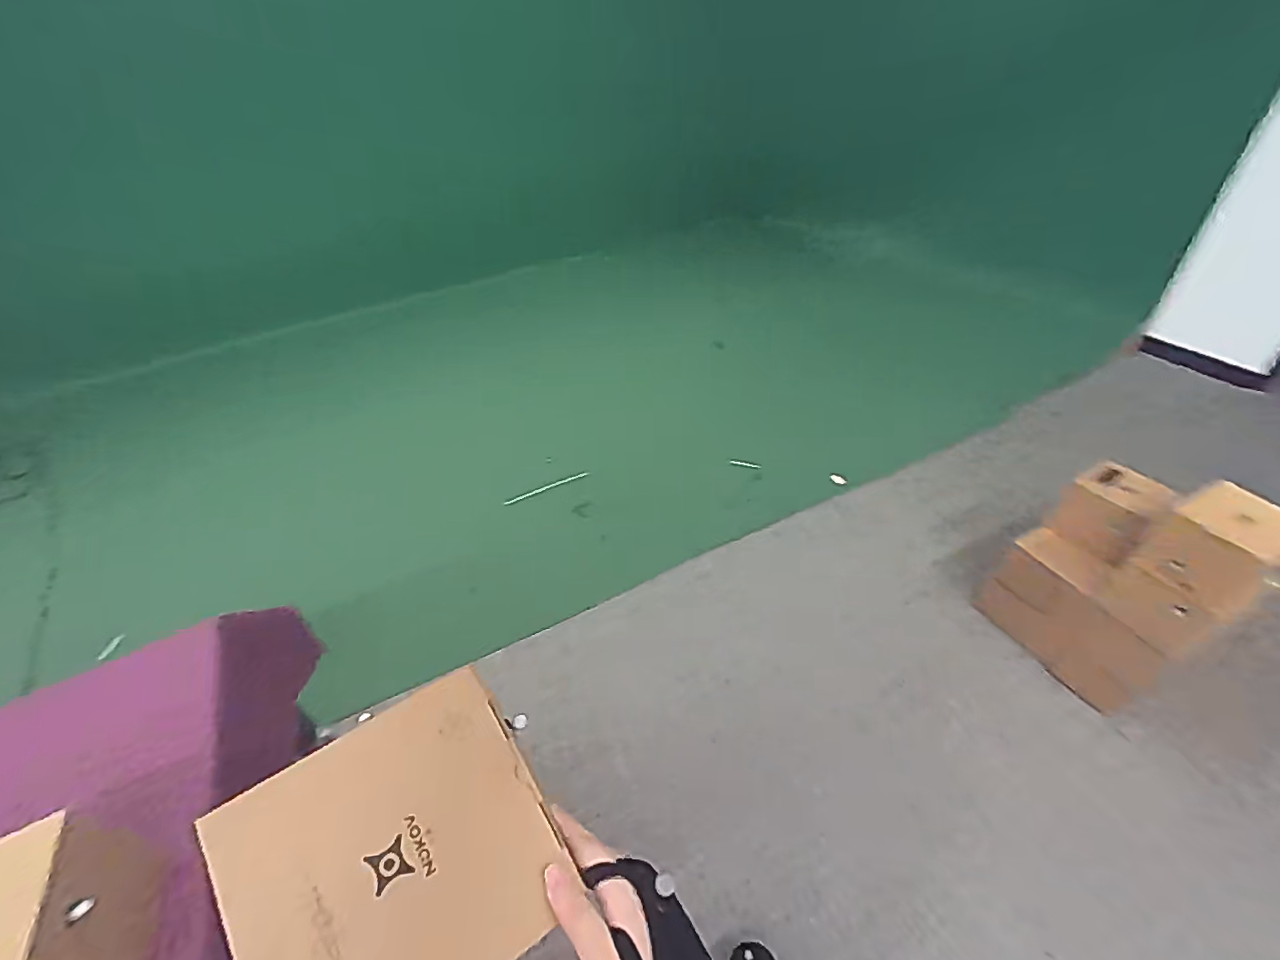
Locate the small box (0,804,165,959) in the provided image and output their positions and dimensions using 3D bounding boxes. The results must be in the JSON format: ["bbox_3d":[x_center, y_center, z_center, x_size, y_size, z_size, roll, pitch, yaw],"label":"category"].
[{"bbox_3d":[-0.667,0.503,0.586,0.168,0.176,0.179,-23,44,-16],"label":"small box"}]

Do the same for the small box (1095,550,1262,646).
[{"bbox_3d":[1.207,0.250,1.228,0.168,0.176,0.179,-20,45,-16],"label":"small box"}]

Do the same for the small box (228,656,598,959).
[{"bbox_3d":[-0.150,0.259,0.401,0.179,0.176,0.168,-26,68,-20],"label":"small box"}]

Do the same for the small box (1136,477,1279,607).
[{"bbox_3d":[1.198,0.128,1.119,0.179,0.176,0.168,-21,45,-15],"label":"small box"}]
